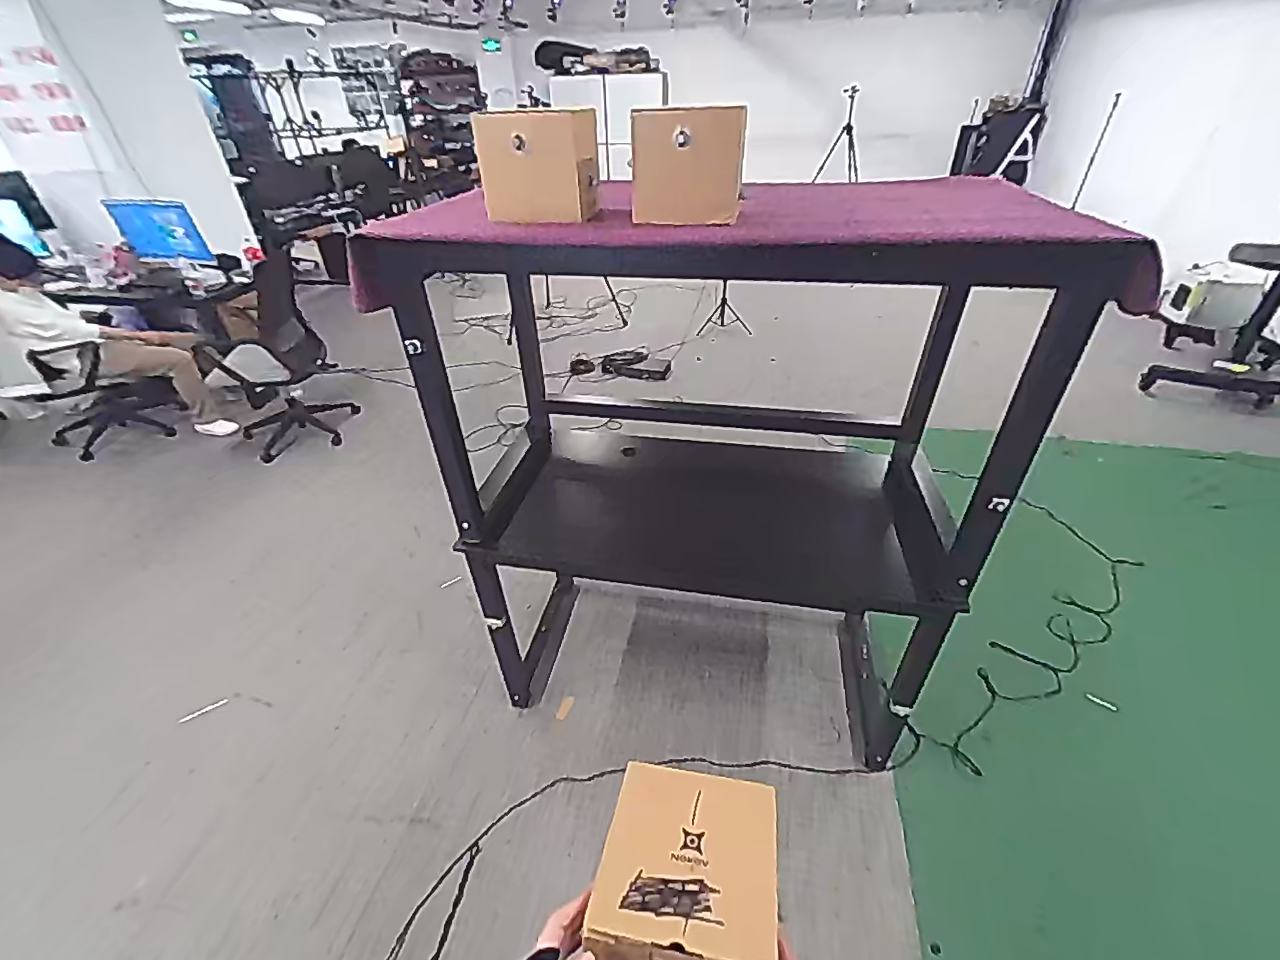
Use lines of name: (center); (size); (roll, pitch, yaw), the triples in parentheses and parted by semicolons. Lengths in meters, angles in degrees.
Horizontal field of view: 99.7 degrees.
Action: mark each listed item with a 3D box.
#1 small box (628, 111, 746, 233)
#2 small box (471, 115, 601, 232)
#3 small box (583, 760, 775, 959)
small box: (0.085, -0.527, 0.926); (0.179, 0.176, 0.168); (5, 36, 11)
small box: (-0.176, -0.555, 0.981); (0.179, 0.176, 0.168); (4, 37, 9)
small box: (0.052, 0.432, 0.557); (0.168, 0.176, 0.179); (3, 23, 13)
